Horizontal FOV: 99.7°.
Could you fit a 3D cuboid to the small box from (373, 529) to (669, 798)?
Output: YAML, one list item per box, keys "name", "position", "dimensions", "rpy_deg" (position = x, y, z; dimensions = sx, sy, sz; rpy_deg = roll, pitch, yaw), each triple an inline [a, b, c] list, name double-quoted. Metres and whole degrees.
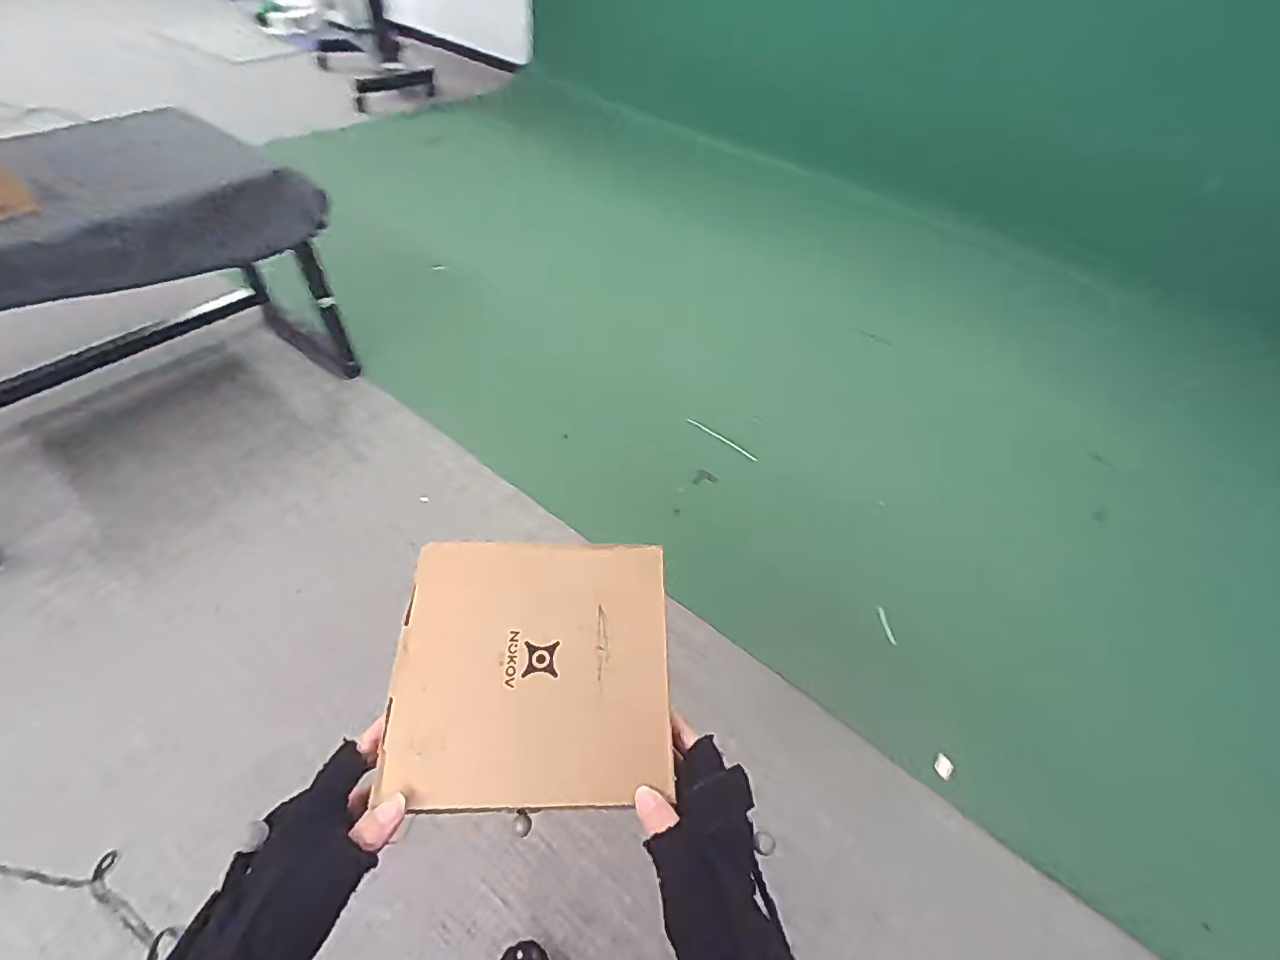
- name: "small box"
  position: [-0.077, 0.150, 0.425]
  dimensions: [0.179, 0.176, 0.168]
  rpy_deg: [-1, 60, -5]
